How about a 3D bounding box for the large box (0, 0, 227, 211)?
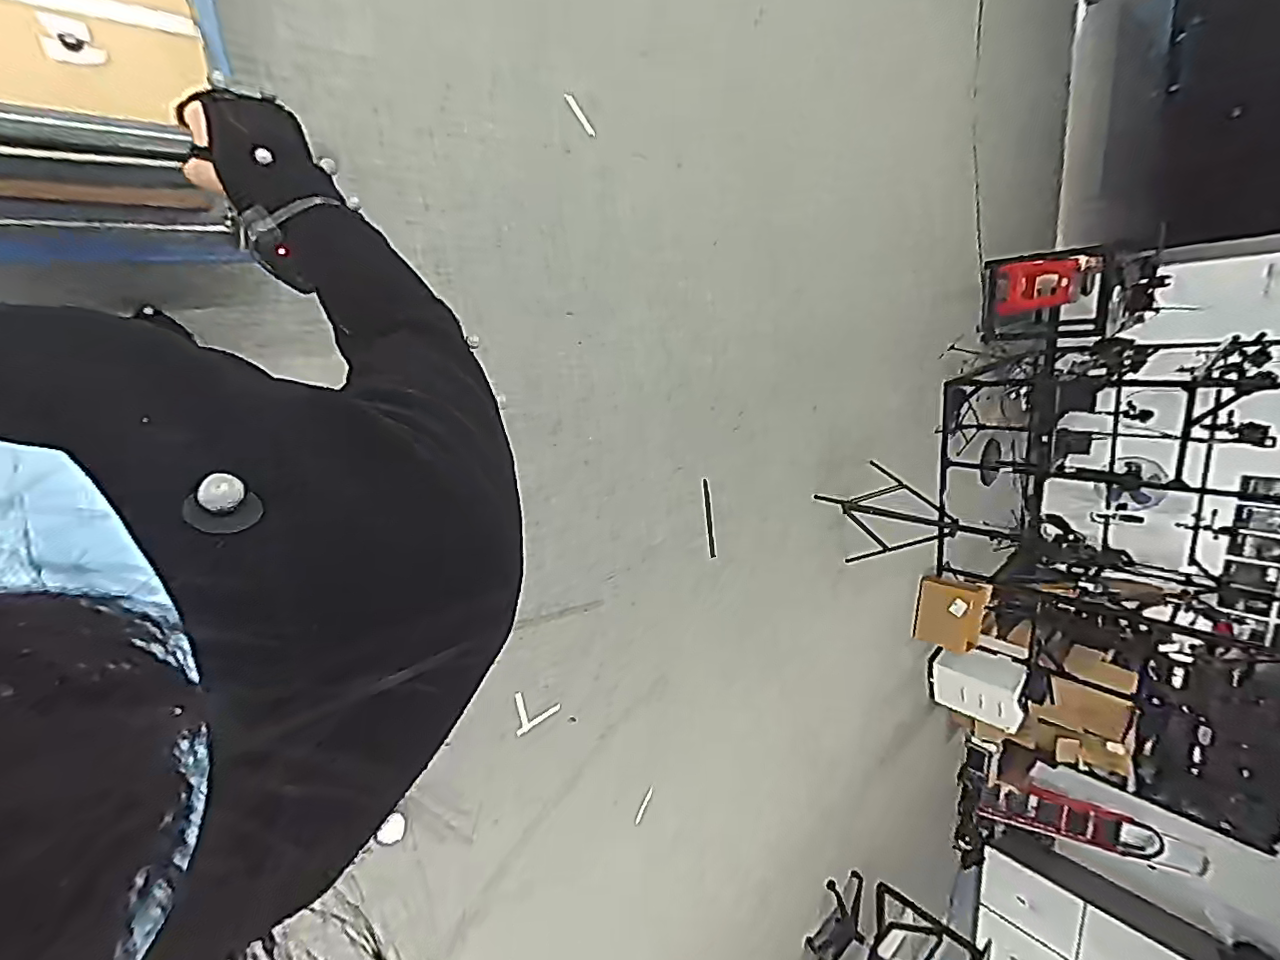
[{"bbox_3d":[-0.853,-0.568,0.718,0.408,0.320,0.320,-19,110,-40],"label":"large box"}]
